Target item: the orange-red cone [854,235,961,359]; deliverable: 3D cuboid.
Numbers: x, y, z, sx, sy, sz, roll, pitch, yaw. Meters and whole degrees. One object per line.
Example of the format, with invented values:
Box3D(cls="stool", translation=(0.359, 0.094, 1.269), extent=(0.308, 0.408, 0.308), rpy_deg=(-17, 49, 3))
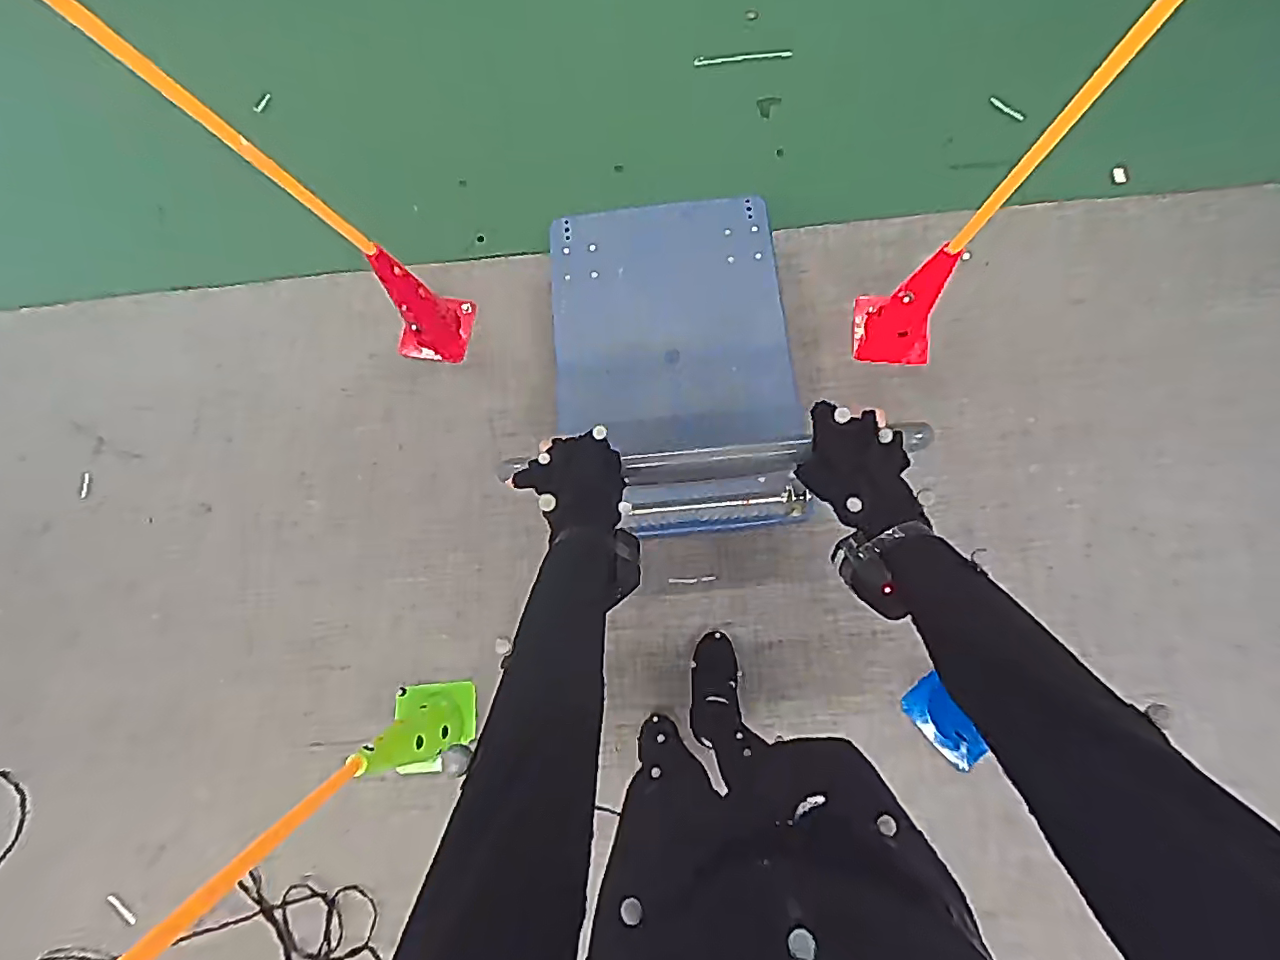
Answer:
Box3D(cls="orange-red cone", translation=(0.682, -0.469, 1.327), extent=(0.198, 0.360, 0.199), rpy_deg=(6, 78, 6))
